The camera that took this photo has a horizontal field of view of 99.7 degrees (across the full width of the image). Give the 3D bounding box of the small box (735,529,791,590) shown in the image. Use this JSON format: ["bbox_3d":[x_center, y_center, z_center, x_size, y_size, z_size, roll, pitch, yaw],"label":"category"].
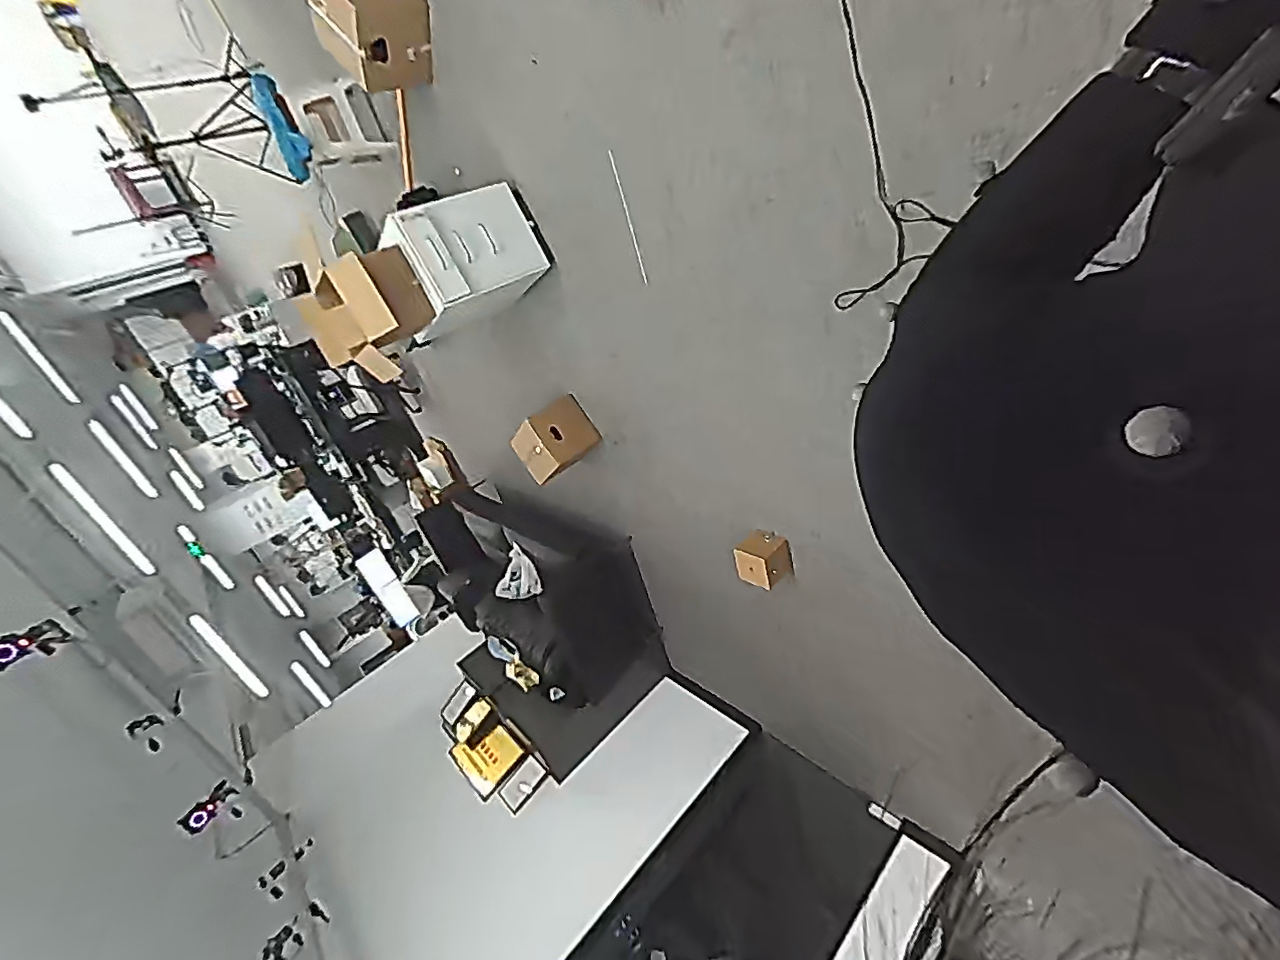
[{"bbox_3d":[0.550,0.350,2.396,0.168,0.176,0.179,16,132,46],"label":"small box"}]
